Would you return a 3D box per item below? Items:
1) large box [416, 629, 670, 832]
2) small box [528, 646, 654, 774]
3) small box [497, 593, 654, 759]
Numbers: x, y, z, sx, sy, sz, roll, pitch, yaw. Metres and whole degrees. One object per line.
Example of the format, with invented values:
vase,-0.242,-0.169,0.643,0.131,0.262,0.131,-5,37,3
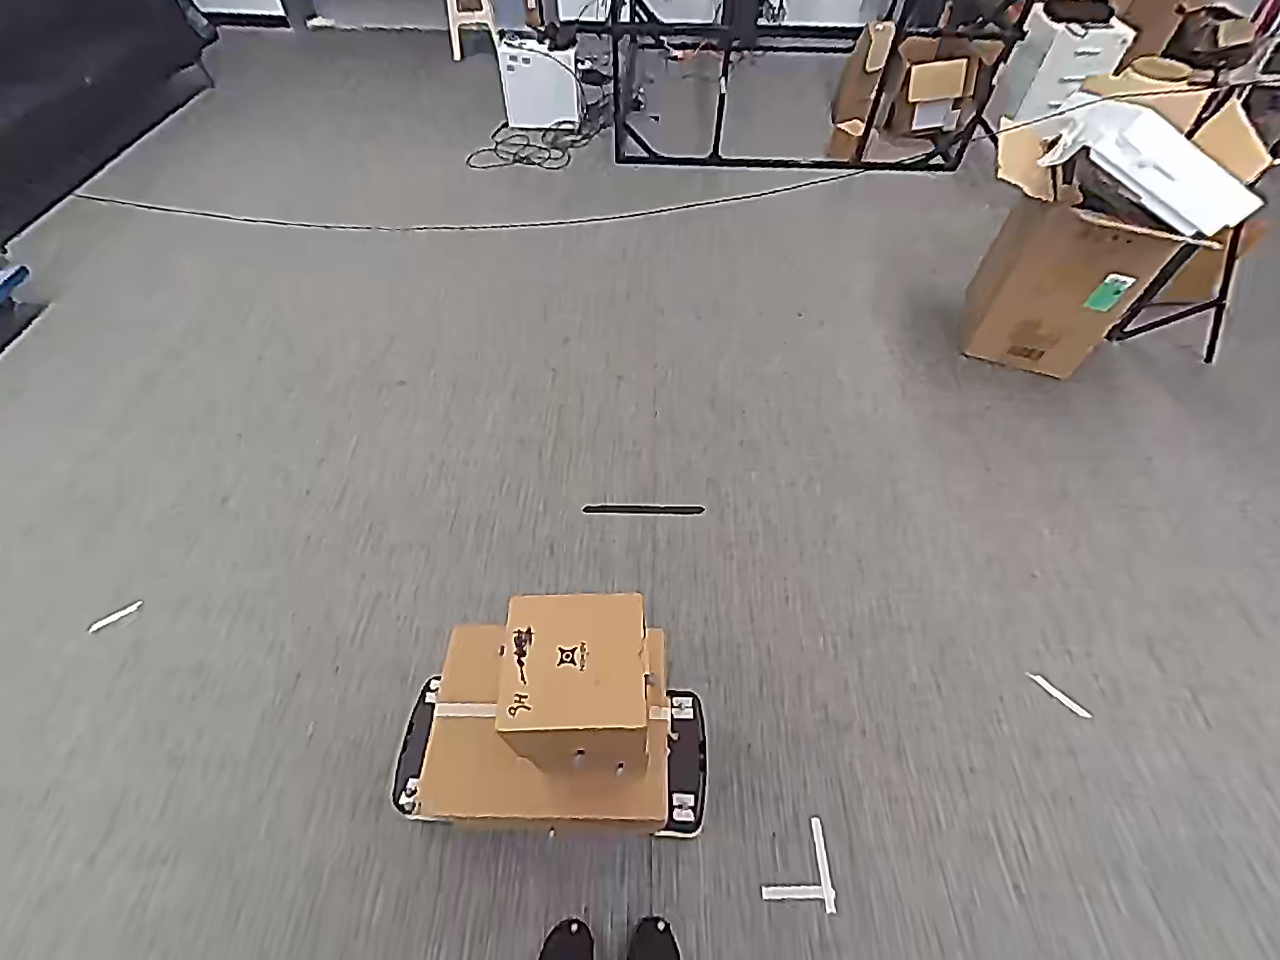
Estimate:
large box,-0.149,0.493,1.048,0.408,0.320,0.320,1,53,1
small box,-0.069,0.356,0.847,0.179,0.176,0.168,0,54,0
small box,-0.075,0.261,0.713,0.179,0.176,0.168,0,52,-1
